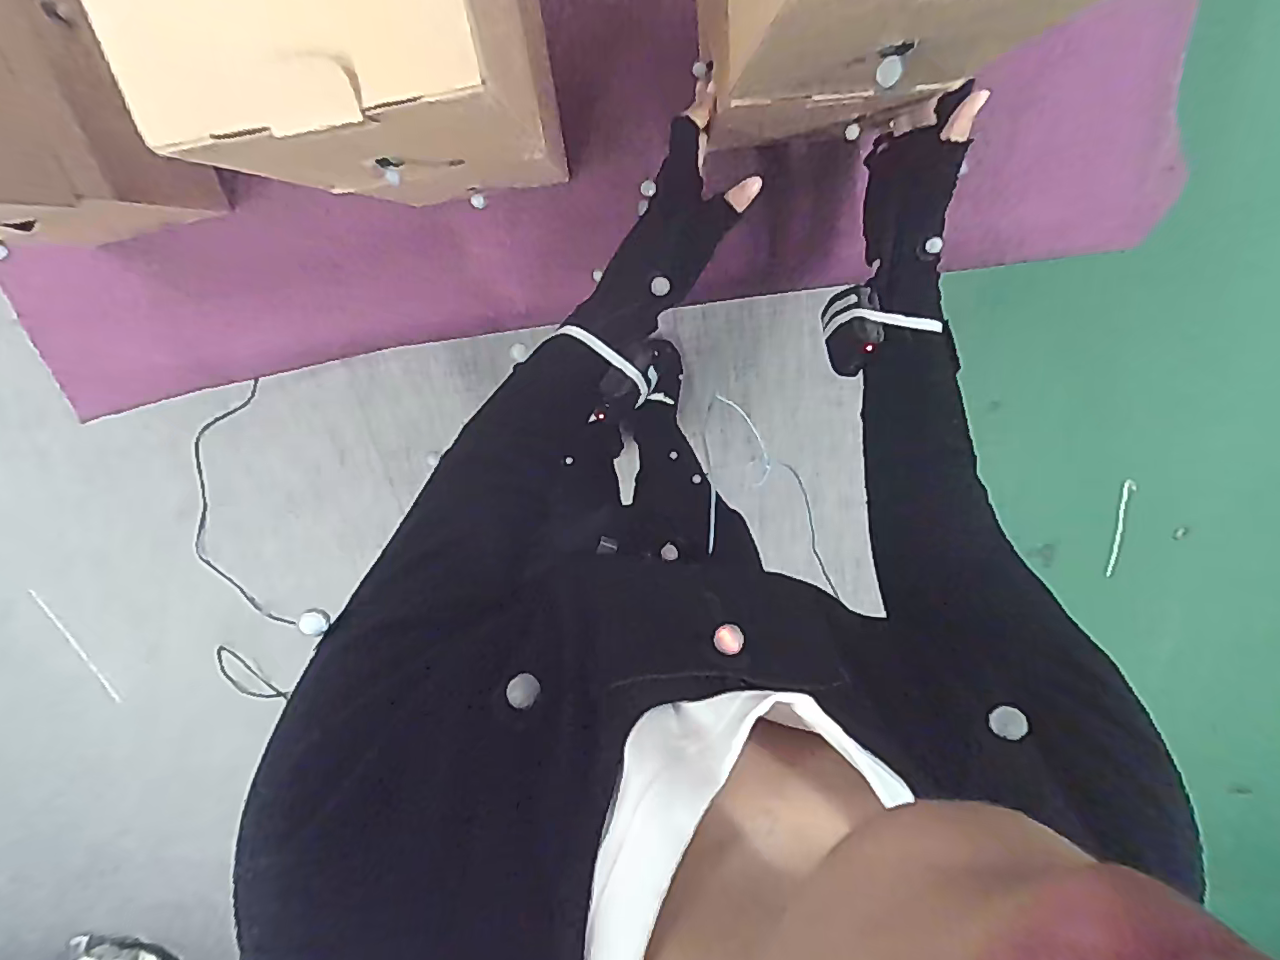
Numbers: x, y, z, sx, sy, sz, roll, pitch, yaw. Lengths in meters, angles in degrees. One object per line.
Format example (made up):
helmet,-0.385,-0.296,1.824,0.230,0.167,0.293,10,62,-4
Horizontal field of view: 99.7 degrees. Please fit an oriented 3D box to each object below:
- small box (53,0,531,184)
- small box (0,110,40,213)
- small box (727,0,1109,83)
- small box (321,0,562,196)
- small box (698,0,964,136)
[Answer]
small box,-0.166,-0.270,0.280,0.168,0.176,0.179,-8,115,4
small box,-0.518,-0.234,0.293,0.168,0.176,0.179,-8,115,2
small box,0.135,-0.312,0.258,0.168,0.176,0.179,-4,115,1
small box,-0.165,-0.337,0.429,0.168,0.176,0.179,-6,115,4
small box,0.135,-0.375,0.410,0.168,0.176,0.179,-3,114,2
